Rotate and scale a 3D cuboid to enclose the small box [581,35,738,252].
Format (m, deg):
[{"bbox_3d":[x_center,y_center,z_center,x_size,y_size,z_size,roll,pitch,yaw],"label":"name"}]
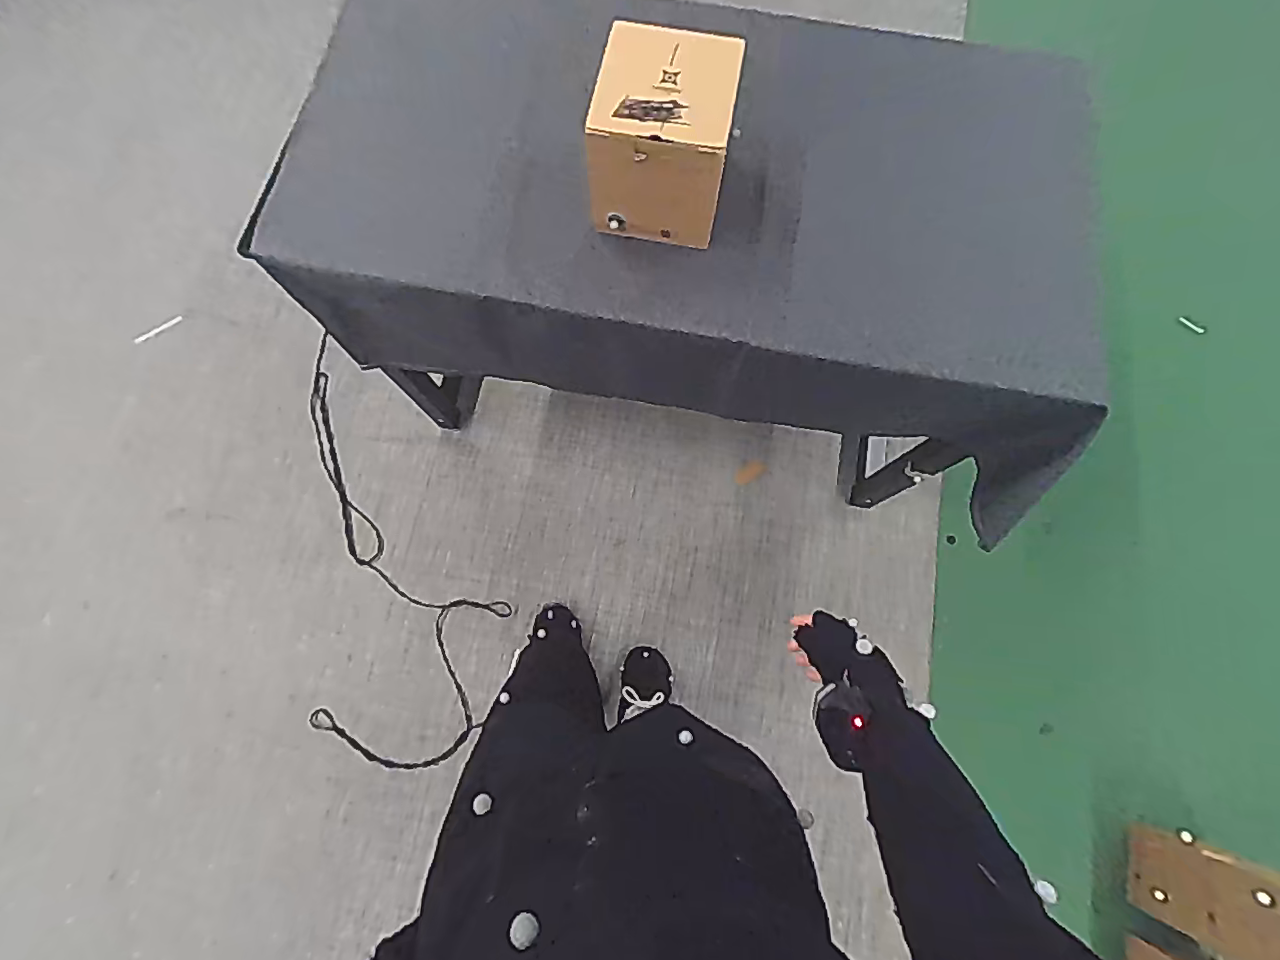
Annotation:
[{"bbox_3d":[0.027,-0.438,0.724,0.168,0.176,0.179,10,74,2],"label":"small box"}]

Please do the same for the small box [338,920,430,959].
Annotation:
[{"bbox_3d":[-0.215,0.516,0.444,0.168,0.179,0.176,23,48,17],"label":"small box"}]
